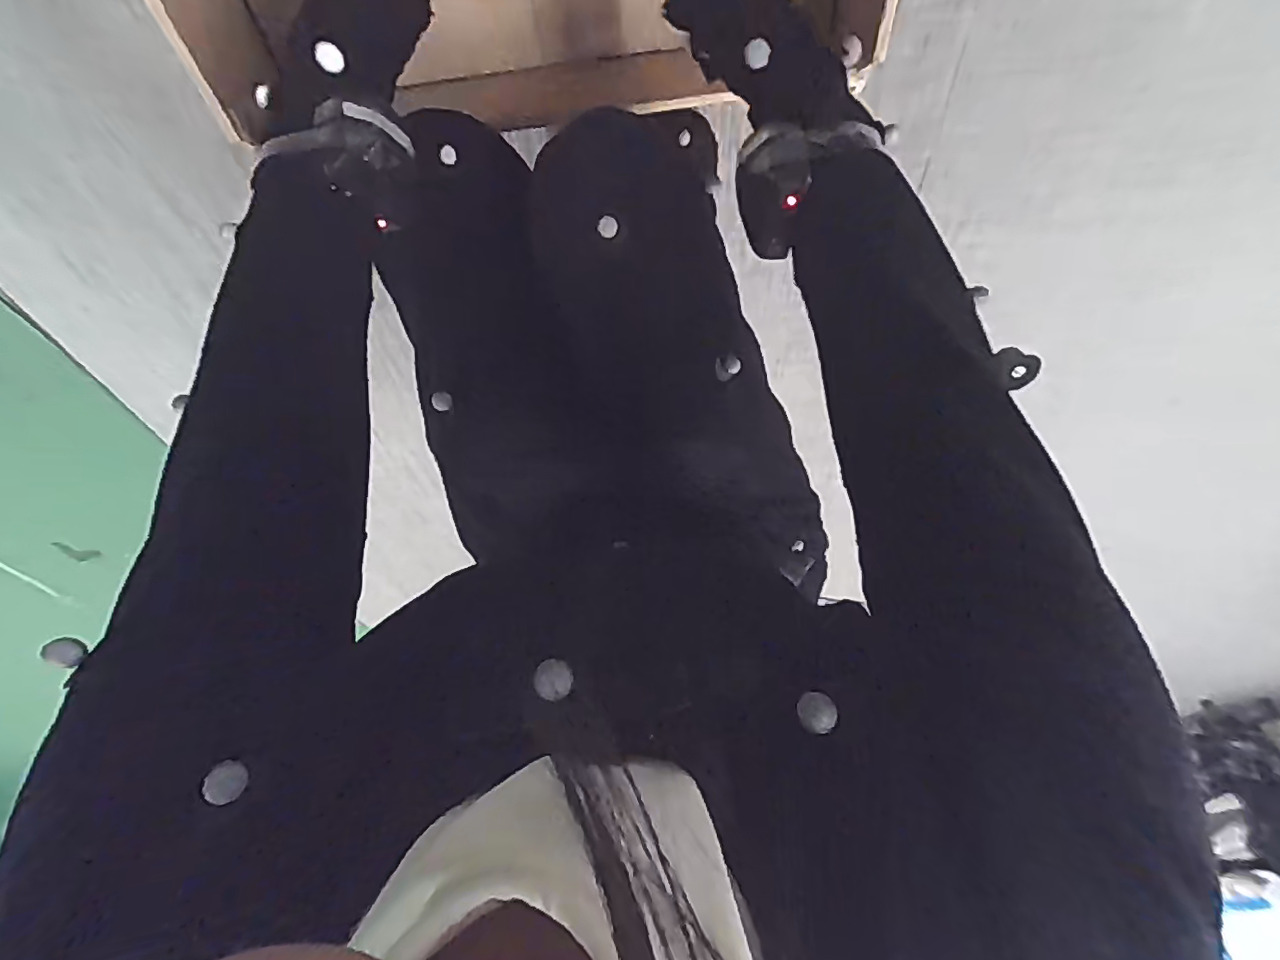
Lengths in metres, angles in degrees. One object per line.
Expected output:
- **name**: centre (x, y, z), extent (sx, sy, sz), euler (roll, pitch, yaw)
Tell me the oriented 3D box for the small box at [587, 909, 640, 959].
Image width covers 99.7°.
- **small box**: centre (-0.091, 1.601, 1.868), extent (0.168, 0.176, 0.179), euler (-5, 141, 1)
